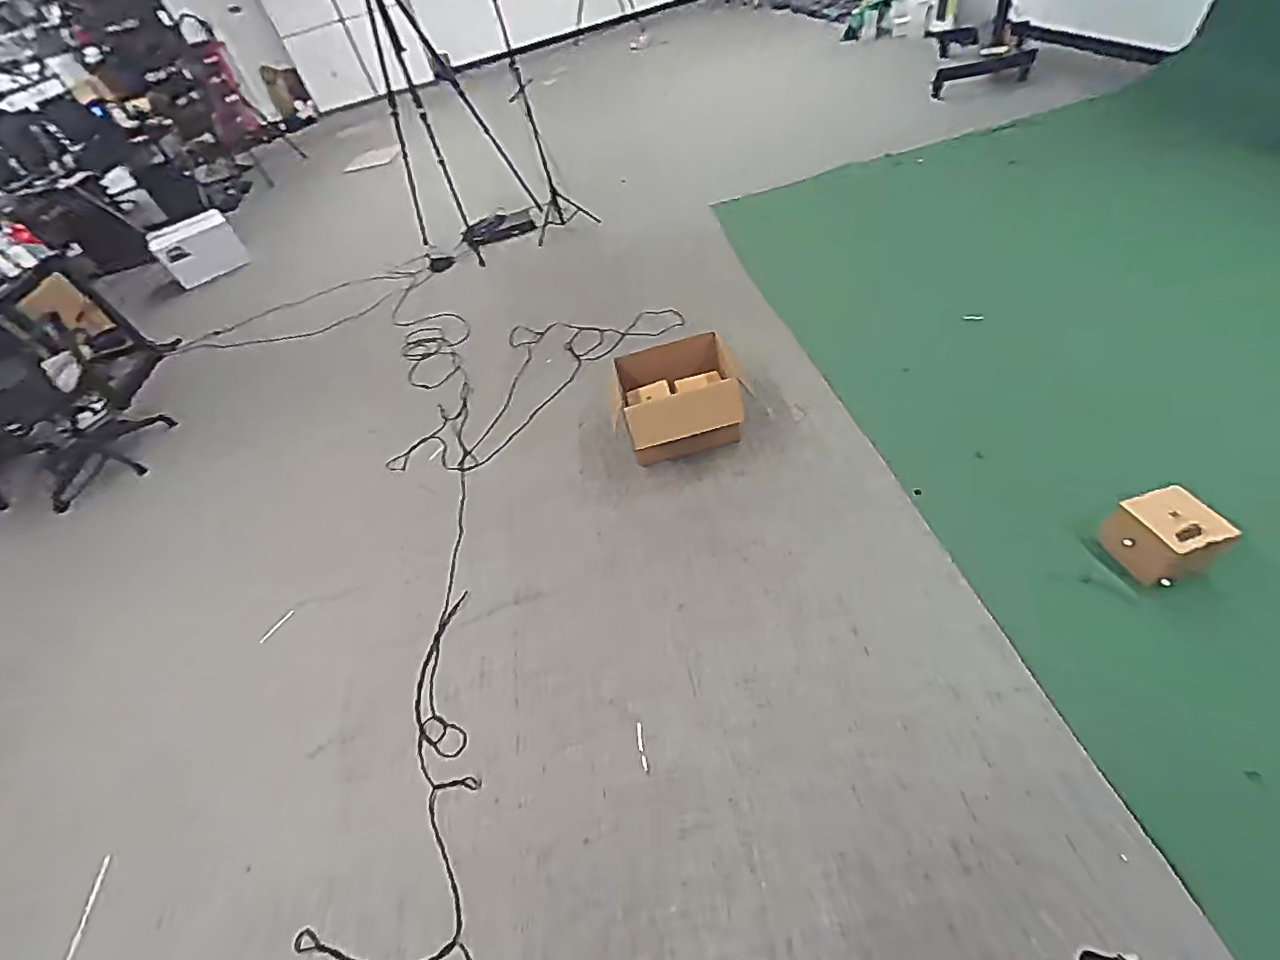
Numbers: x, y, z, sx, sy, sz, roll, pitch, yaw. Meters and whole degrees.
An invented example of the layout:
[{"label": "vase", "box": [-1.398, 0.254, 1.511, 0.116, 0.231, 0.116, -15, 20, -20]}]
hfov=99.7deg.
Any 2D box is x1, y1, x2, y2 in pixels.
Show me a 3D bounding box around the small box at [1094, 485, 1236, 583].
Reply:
[{"label": "small box", "box": [1.361, 0.149, 1.418, 0.168, 0.176, 0.179, -17, 46, -1]}]
